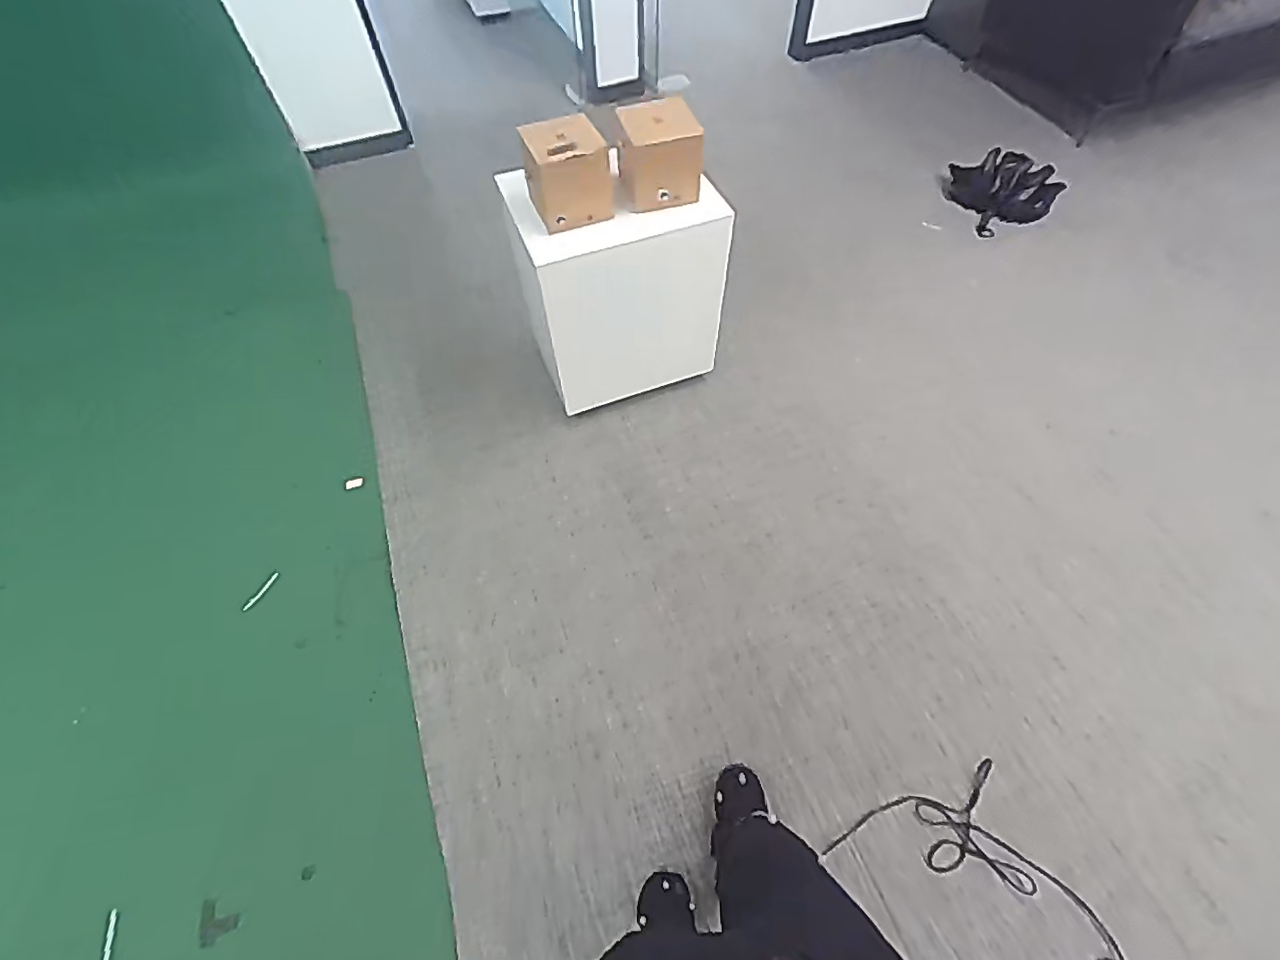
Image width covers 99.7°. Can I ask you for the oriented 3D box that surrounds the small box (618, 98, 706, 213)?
[{"bbox_3d":[0.049,-0.782,1.307,0.168,0.176,0.179,-15,61,-7],"label":"small box"}]

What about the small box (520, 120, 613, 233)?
[{"bbox_3d":[-0.169,-0.713,1.288,0.168,0.176,0.179,-20,59,-11],"label":"small box"}]
